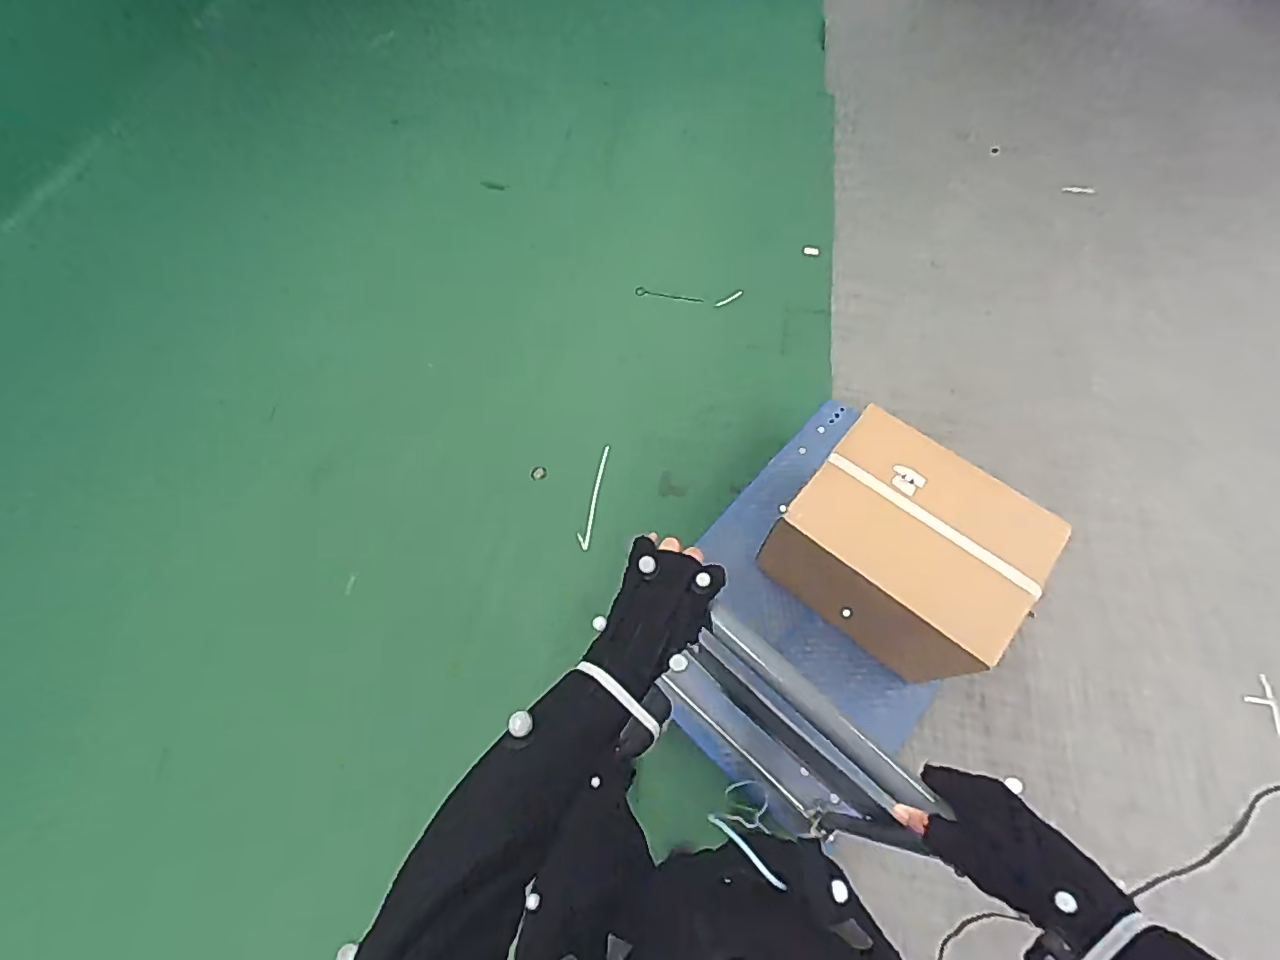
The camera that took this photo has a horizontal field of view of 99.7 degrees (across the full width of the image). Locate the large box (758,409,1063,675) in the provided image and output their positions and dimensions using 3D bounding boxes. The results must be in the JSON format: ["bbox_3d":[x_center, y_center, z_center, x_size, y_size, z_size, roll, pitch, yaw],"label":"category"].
[{"bbox_3d":[0.509,0.136,1.101,0.408,0.320,0.320,36,71,18],"label":"large box"}]
